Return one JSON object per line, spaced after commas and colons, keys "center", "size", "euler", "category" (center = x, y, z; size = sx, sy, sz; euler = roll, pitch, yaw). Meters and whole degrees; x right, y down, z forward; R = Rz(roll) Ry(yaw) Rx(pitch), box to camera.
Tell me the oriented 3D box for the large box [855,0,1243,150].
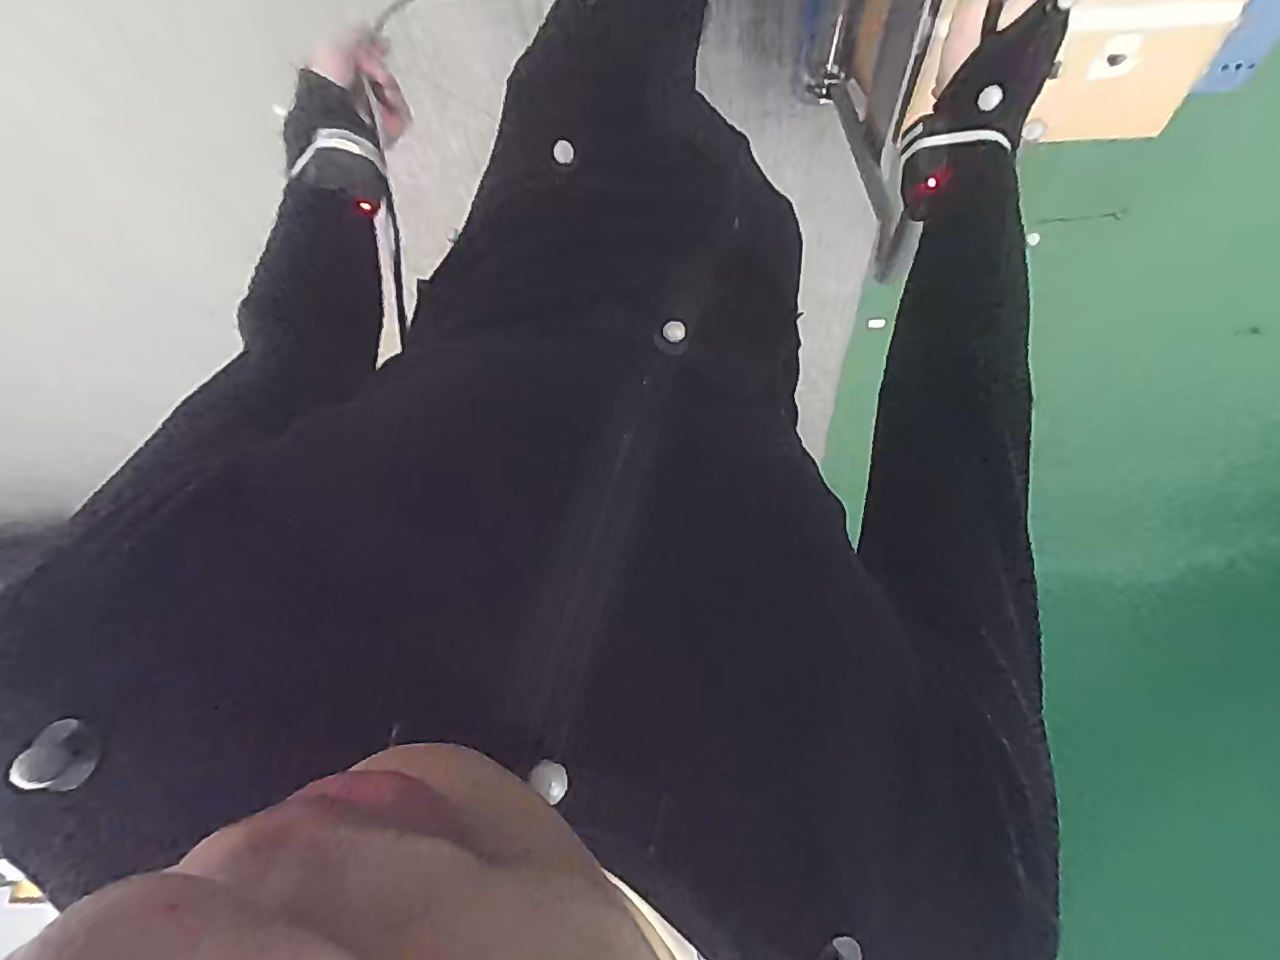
{"center": [0.596, -0.742, 0.816], "size": [0.408, 0.320, 0.320], "euler": [-2, 145, 1], "category": "large box"}
